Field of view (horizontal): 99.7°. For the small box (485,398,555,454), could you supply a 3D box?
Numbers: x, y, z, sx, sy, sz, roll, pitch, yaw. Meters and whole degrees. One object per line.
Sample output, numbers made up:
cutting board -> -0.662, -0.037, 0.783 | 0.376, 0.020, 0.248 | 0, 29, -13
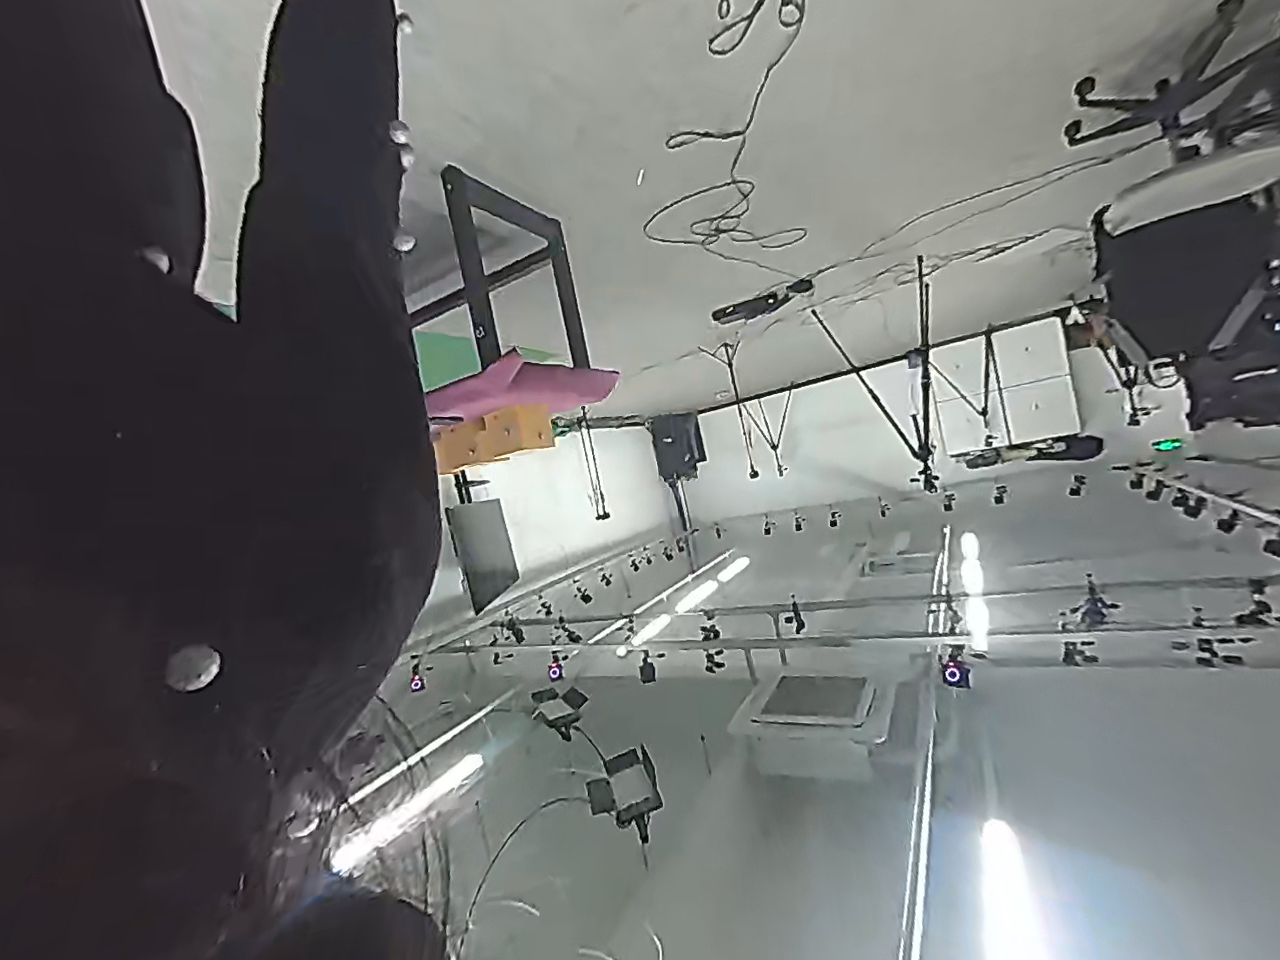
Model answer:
small box -> -0.442, -0.200, 1.978 | 0.168, 0.176, 0.179 | -11, -178, 31

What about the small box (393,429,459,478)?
small box -> -0.878, -0.112, 2.208 | 0.168, 0.176, 0.179 | -11, -179, 25
